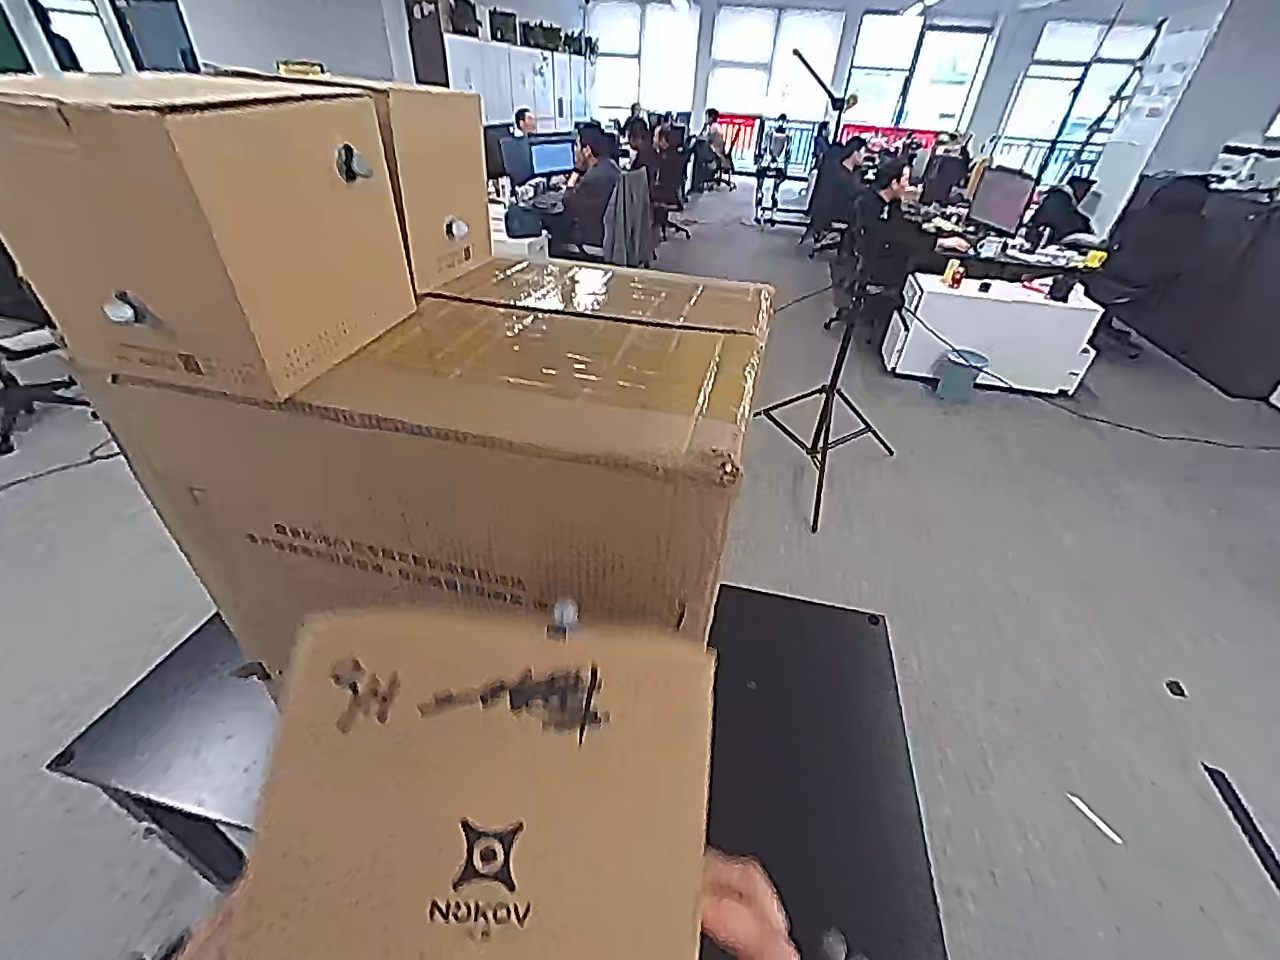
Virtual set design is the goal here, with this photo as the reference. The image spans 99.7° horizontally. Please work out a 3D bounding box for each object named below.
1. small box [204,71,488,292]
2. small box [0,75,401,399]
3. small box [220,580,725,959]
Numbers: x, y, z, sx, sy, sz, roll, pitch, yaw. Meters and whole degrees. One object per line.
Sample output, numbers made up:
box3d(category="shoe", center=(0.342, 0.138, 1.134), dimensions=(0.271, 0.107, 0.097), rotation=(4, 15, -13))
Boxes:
box3d(category="small box", center=(-0.274, -0.300, 0.551), dimensions=(0.179, 0.176, 0.168), rotation=(11, 36, 9))
box3d(category="small box", center=(-0.299, -0.182, 0.393), dimensions=(0.168, 0.176, 0.179), rotation=(10, 39, 9))
box3d(category="small box", center=(-0.062, 0.148, 0.269), dimensions=(0.168, 0.179, 0.176), rotation=(5, -9, -4))
